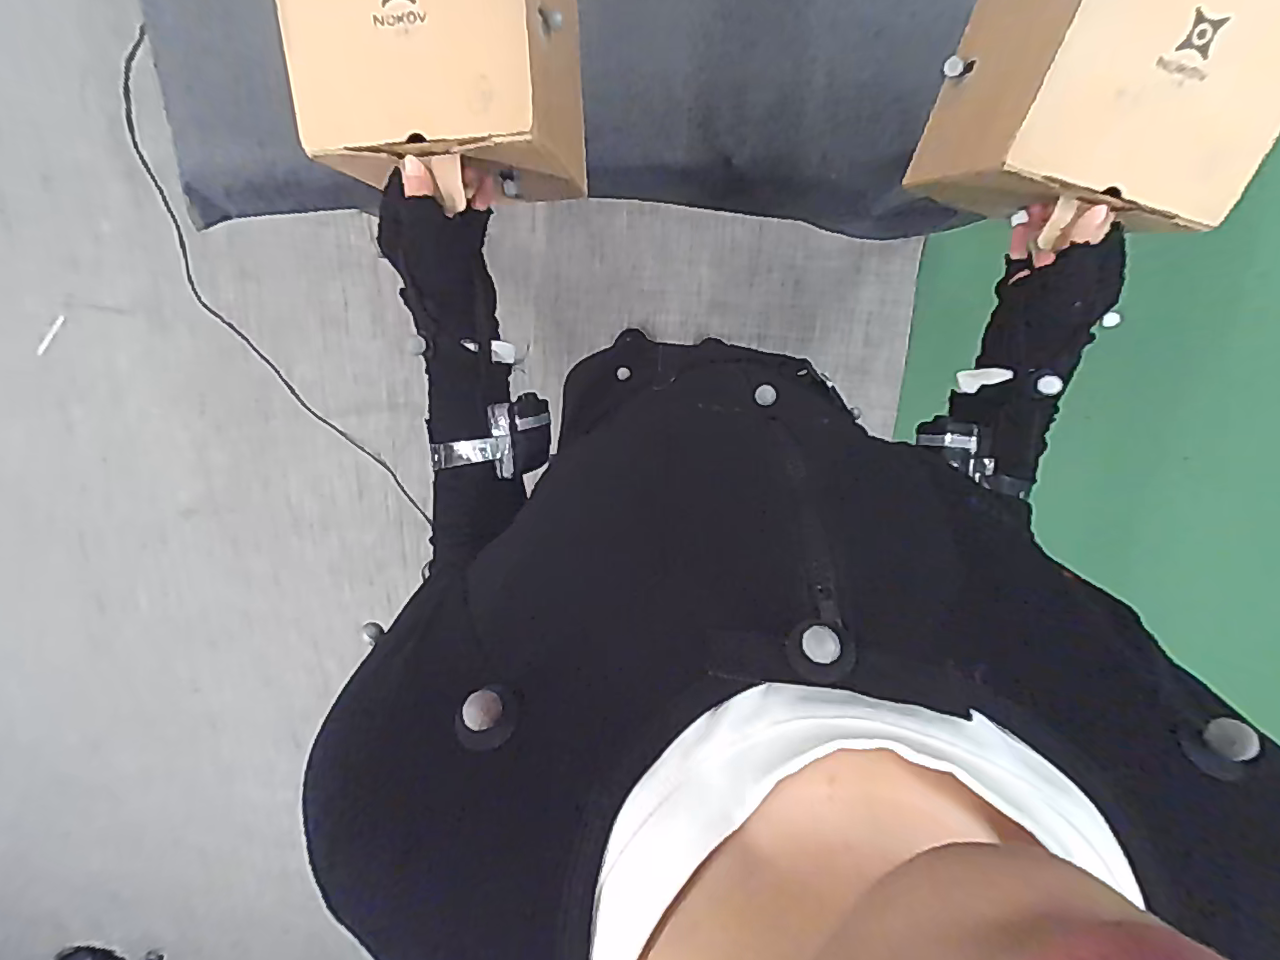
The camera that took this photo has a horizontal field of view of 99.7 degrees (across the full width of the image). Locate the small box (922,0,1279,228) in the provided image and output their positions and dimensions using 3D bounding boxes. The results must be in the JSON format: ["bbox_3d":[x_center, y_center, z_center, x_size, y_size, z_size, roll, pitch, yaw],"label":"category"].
[{"bbox_3d":[0.348,-0.306,0.408,0.168,0.176,0.179,14,115,-5],"label":"small box"}]

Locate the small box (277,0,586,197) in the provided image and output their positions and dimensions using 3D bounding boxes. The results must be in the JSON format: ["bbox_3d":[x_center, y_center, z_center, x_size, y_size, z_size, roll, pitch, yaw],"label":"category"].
[{"bbox_3d":[-0.140,-0.328,0.410,0.168,0.176,0.179,-1,104,6],"label":"small box"}]
